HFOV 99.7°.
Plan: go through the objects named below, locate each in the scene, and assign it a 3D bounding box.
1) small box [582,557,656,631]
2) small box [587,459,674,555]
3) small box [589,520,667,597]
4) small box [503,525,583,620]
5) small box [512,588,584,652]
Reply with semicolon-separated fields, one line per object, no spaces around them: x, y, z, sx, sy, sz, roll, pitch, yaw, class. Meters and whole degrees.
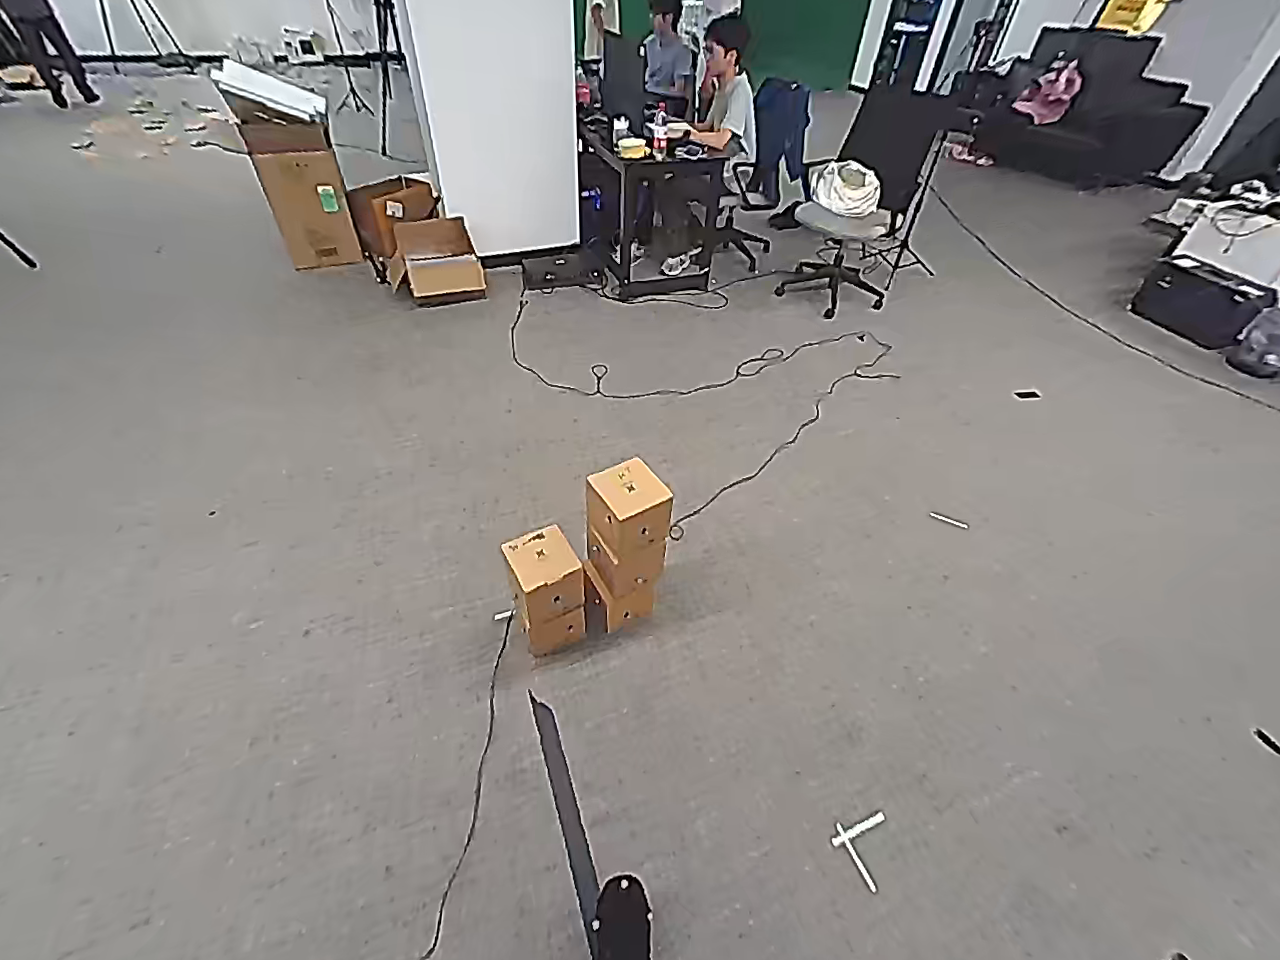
-0.069;0.330;1.665;0.168;0.176;0.179;-21;50;-23;small box
-0.028;0.079;1.453;0.168;0.176;0.179;-23;50;-25;small box
-0.040;0.203;1.562;0.168;0.176;0.179;-20;50;-22;small box
-0.263;0.262;1.488;0.168;0.176;0.179;-20;49;-23;small box
-0.269;0.383;1.599;0.168;0.176;0.179;-17;47;-20;small box
